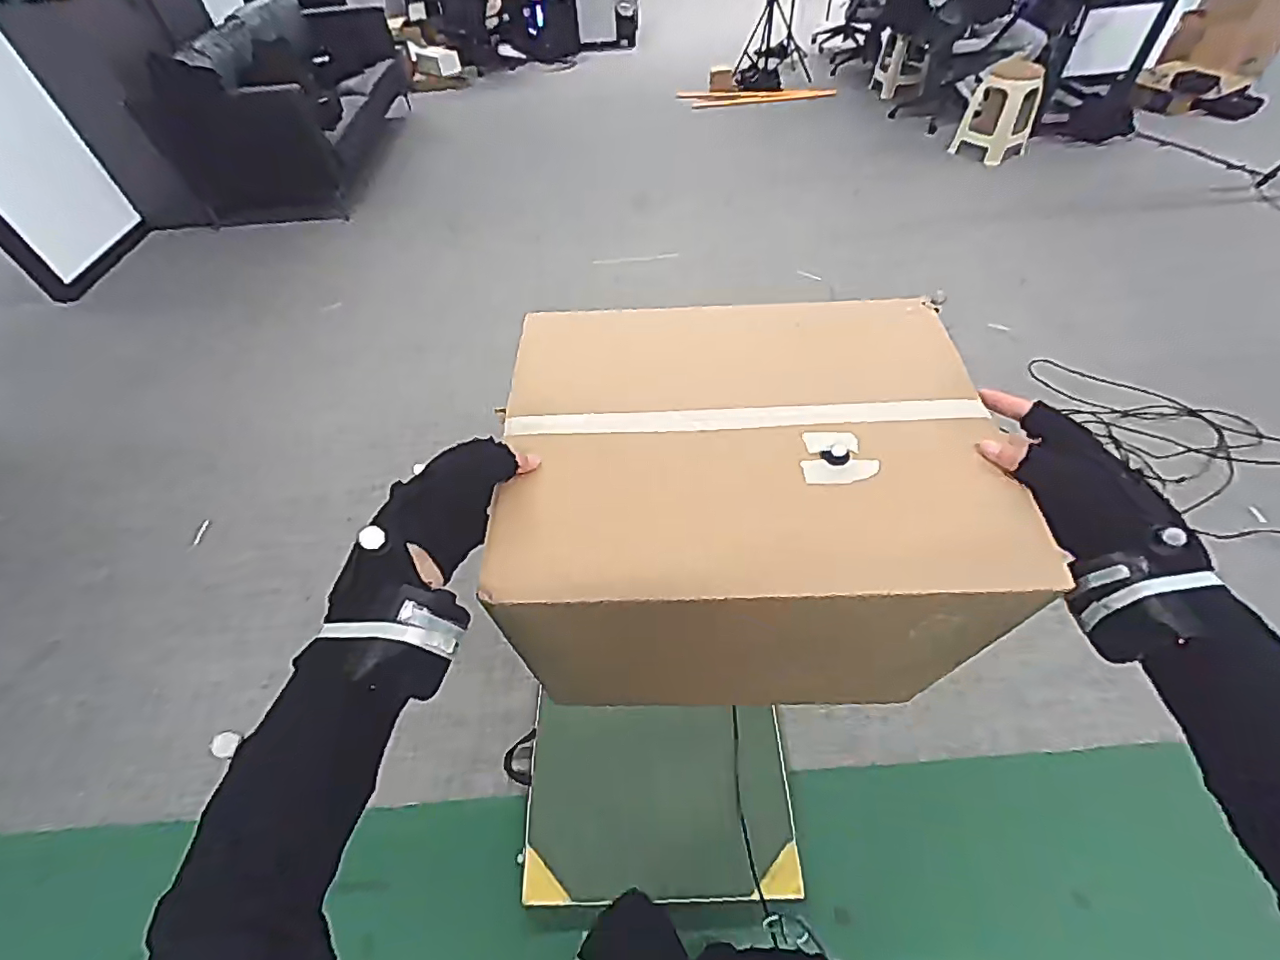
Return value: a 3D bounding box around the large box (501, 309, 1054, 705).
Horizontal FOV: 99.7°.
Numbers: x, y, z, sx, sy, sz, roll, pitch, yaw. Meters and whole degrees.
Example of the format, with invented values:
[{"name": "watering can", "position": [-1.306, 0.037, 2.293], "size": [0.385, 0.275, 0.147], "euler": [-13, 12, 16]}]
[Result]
[{"name": "large box", "position": [0.096, 0.041, 0.588], "size": [0.408, 0.320, 0.320], "euler": [-2, 55, 1]}]
